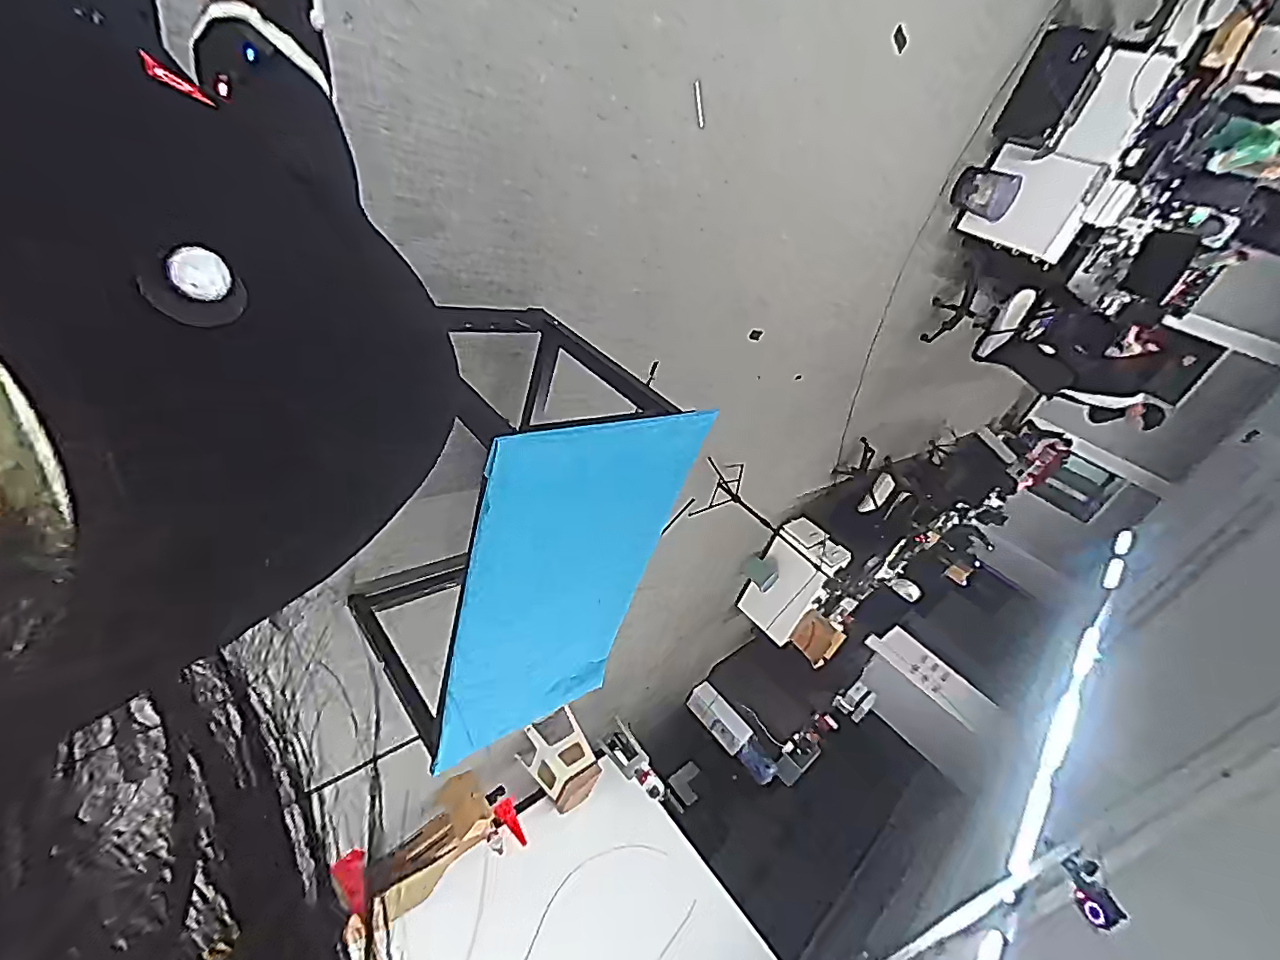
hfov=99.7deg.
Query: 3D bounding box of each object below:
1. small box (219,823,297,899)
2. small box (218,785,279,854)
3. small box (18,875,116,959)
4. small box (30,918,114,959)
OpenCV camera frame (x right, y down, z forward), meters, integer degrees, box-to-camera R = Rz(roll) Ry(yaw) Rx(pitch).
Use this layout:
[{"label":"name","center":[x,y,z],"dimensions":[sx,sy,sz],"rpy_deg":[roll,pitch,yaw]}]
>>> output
[{"label":"small box","center":[-1.519,1.520,2.158],"dimensions":[0.168,0.176,0.179],"rpy_deg":[-48,150,-1]},{"label":"small box","center":[-1.624,1.415,2.237],"dimensions":[0.179,0.176,0.168],"rpy_deg":[-12,134,-47]},{"label":"small box","center":[-1.996,1.521,1.880],"dimensions":[0.179,0.176,0.168],"rpy_deg":[-36,145,-21]},{"label":"small box","center":[-1.890,1.605,1.787],"dimensions":[0.179,0.176,0.168],"rpy_deg":[-55,147,11]}]
